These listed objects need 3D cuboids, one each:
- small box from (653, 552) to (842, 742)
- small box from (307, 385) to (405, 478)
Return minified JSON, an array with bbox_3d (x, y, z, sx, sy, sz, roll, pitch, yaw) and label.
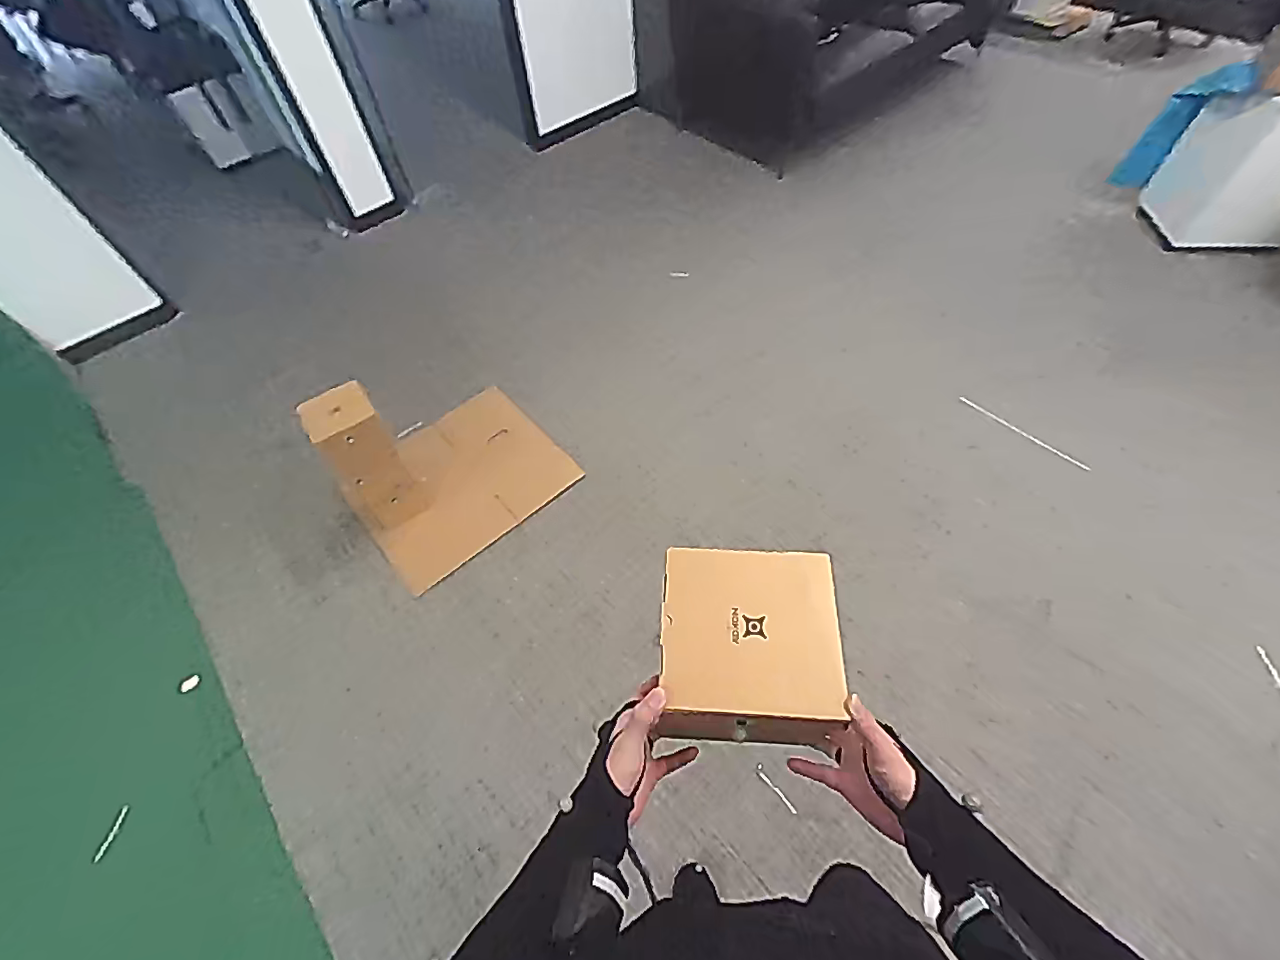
[{"bbox_3d":[0.109,0.192,0.606,0.179,0.176,0.168,0,57,6],"label":"small box"},{"bbox_3d":[-0.822,-0.137,1.575,0.179,0.176,0.168,-31,60,-16],"label":"small box"}]
